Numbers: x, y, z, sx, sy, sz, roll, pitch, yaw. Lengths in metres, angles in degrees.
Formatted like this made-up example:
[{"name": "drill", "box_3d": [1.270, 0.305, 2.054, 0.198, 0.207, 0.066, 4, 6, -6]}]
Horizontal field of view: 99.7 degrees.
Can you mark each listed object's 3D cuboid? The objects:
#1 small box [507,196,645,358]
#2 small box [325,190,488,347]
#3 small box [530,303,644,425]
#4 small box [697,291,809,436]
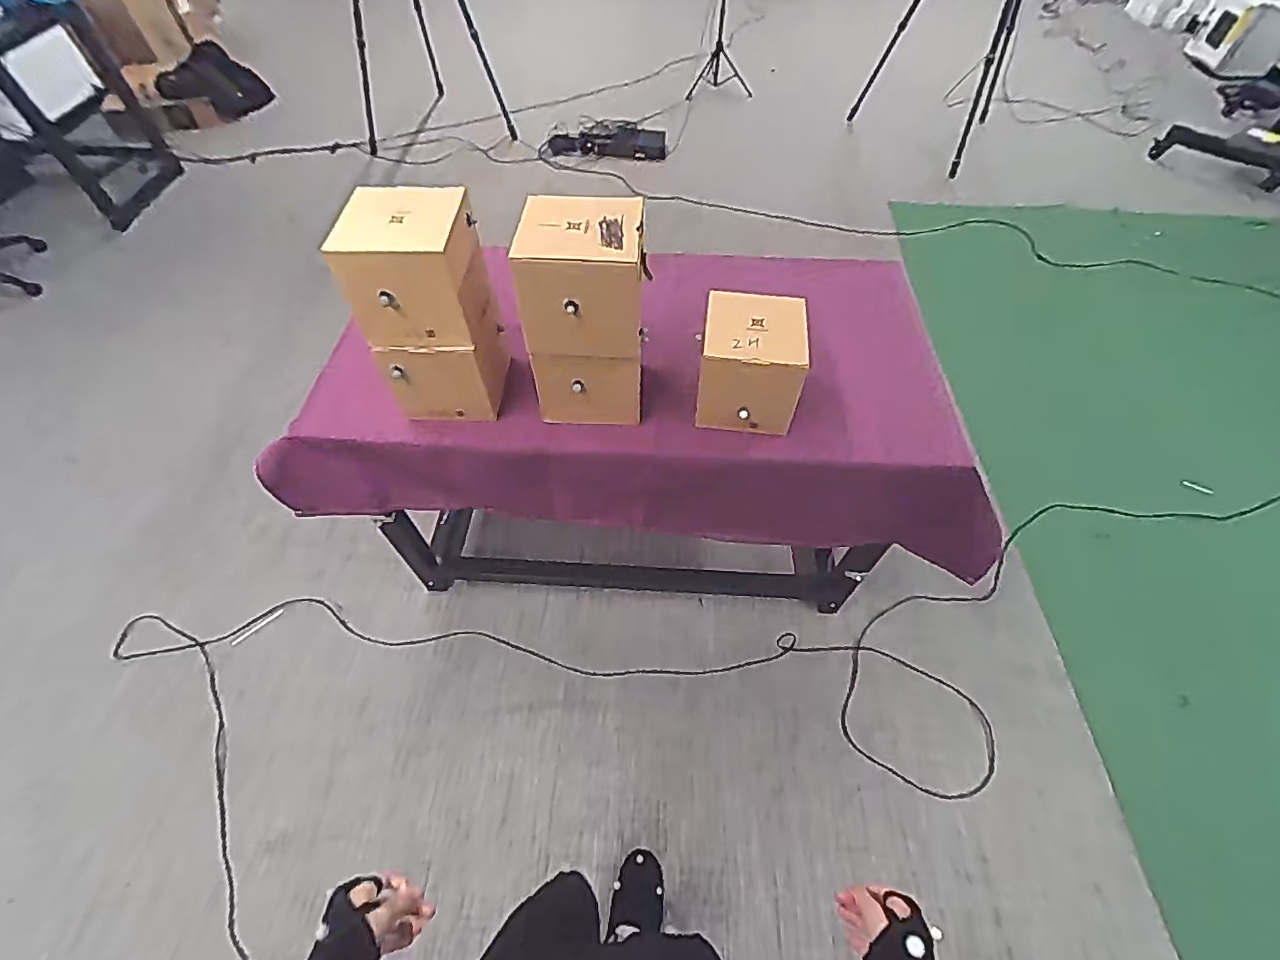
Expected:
[{"name": "small box", "box_3d": [-0.084, -0.303, 0.821, 0.179, 0.176, 0.168, 2, 54, 3]}, {"name": "small box", "box_3d": [-0.343, -0.322, 0.838, 0.168, 0.176, 0.179, -1, 53, 0]}, {"name": "small box", "box_3d": [-0.084, -0.212, 0.958, 0.179, 0.176, 0.168, 2, 55, 2]}, {"name": "small box", "box_3d": [0.192, -0.203, 0.948, 0.168, 0.176, 0.179, 7, 55, 5]}]
